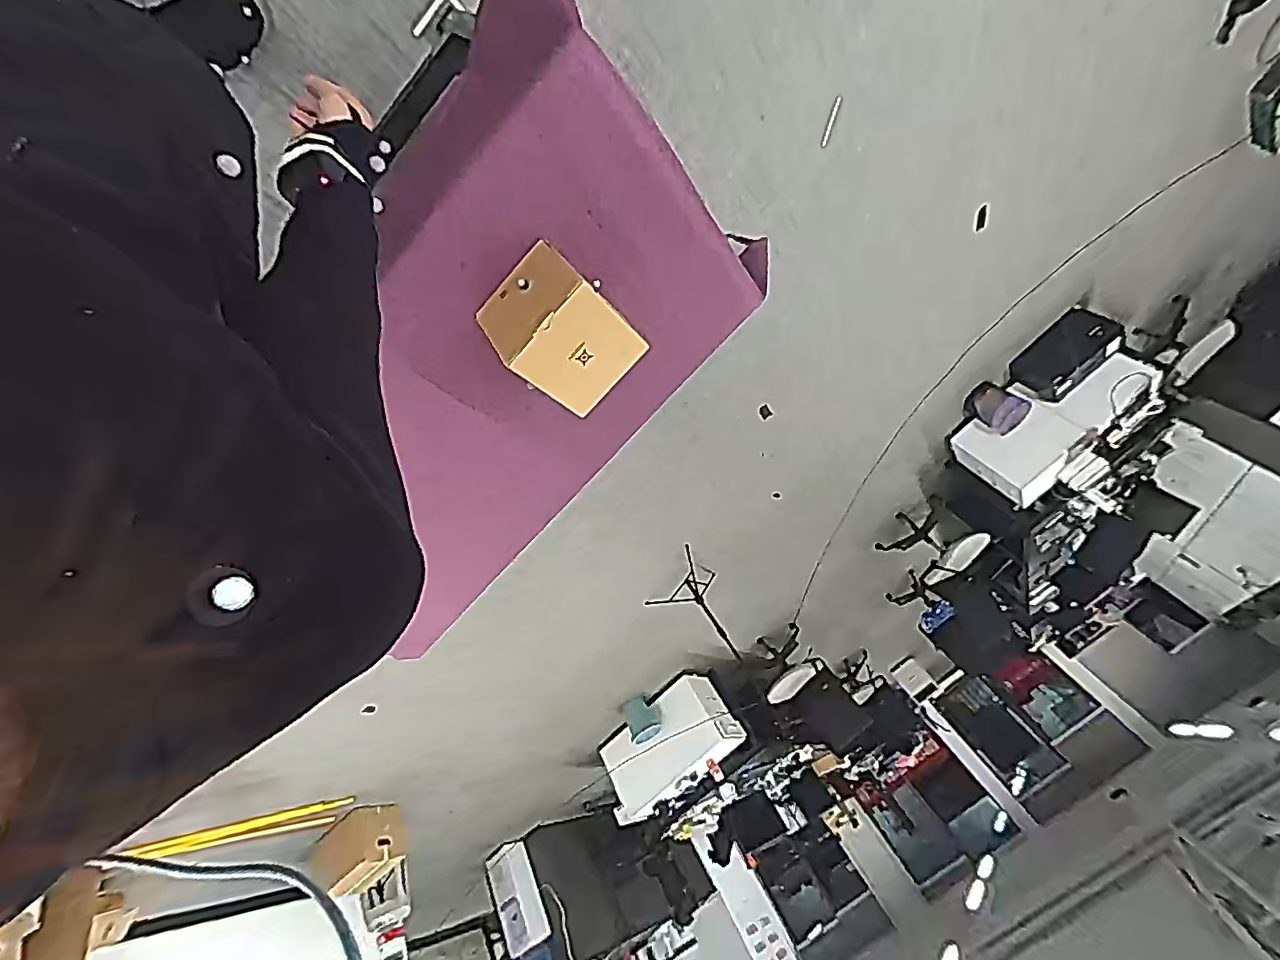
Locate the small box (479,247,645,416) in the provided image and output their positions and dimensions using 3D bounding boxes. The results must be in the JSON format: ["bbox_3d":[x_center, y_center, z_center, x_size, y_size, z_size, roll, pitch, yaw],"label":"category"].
[{"bbox_3d":[-0.129,-0.242,0.883,0.168,0.176,0.179,-45,140,11],"label":"small box"}]
